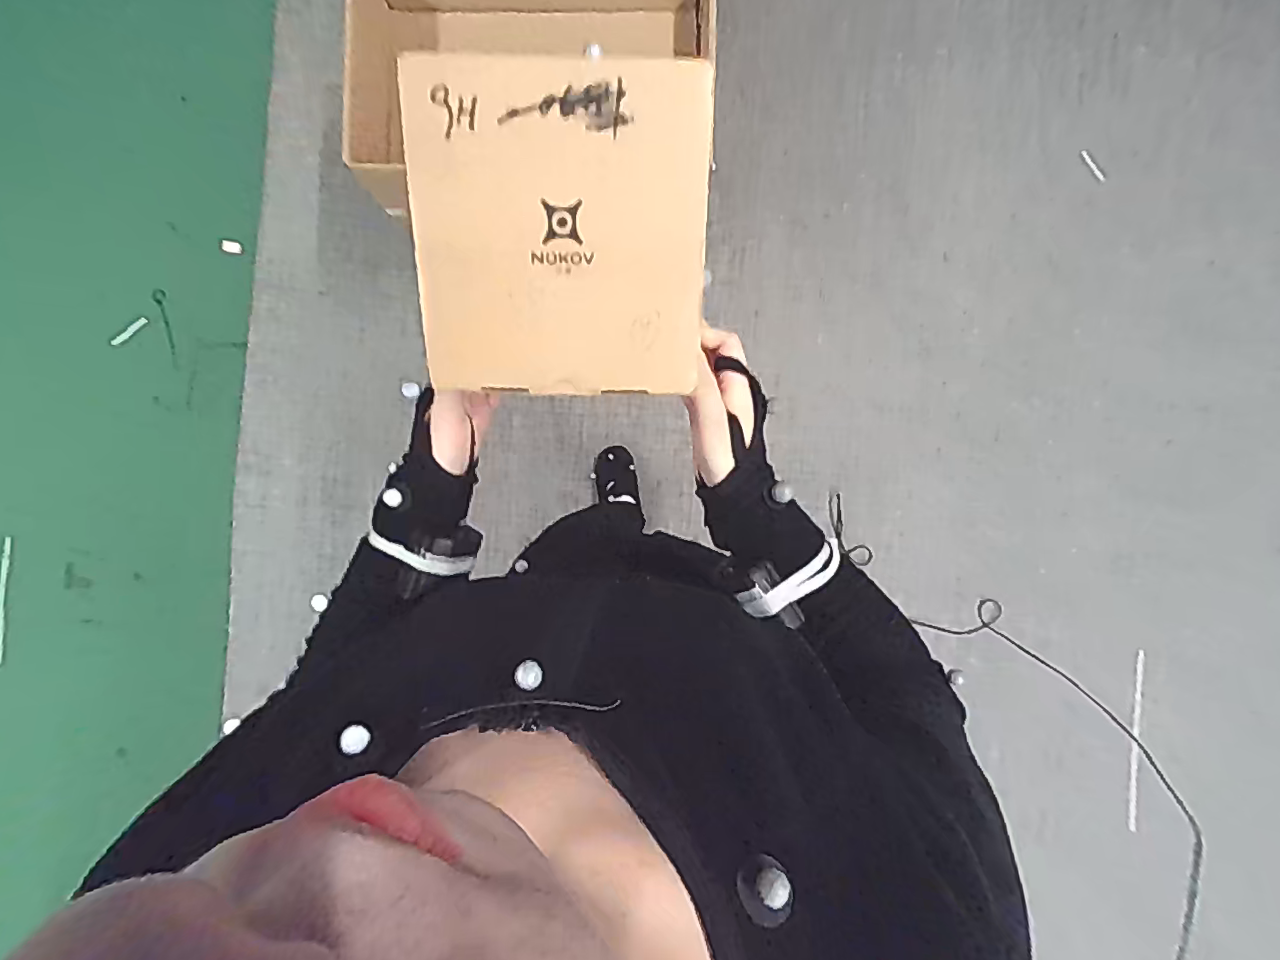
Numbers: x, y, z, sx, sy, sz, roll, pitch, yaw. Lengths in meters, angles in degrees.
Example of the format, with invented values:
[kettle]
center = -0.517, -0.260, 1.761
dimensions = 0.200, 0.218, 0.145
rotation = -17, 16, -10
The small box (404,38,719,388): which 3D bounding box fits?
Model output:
[small box]
center = -0.044, -0.170, 0.382
dimensions = 0.168, 0.176, 0.179
rotation = 1, 110, -2
